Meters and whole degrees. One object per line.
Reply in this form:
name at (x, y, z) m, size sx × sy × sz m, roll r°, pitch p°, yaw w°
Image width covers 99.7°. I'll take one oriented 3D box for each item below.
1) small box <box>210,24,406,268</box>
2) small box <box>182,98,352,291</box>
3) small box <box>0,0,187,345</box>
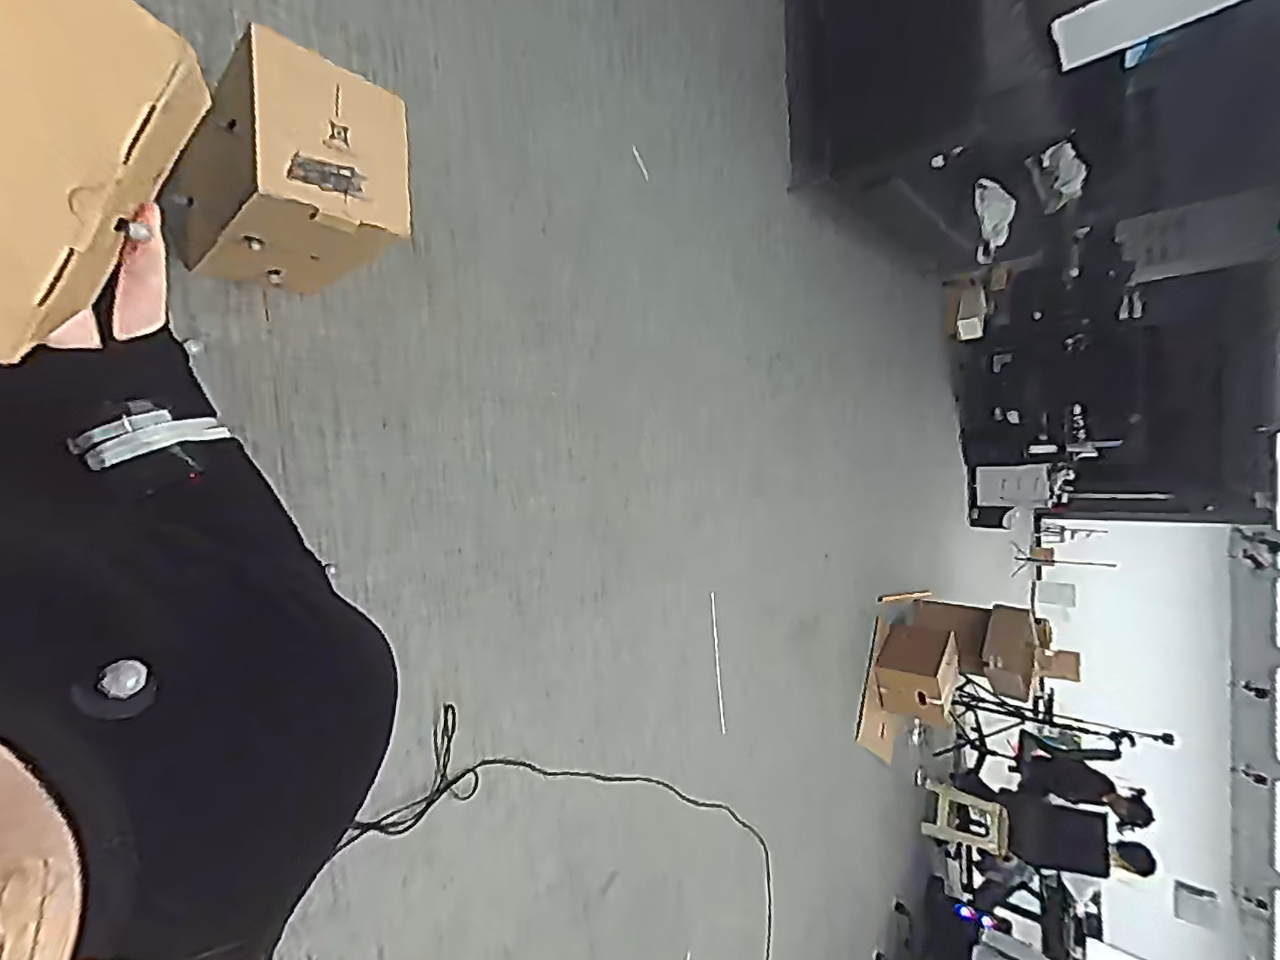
small box at (-0.410, -0.385, 0.668) m, size 0.168 × 0.176 × 0.179 m, roll -3°, pitch 90°, yaw -49°
small box at (-0.534, -0.387, 0.777) m, size 0.168 × 0.176 × 0.179 m, roll -5°, pitch 93°, yaw -50°
small box at (-0.342, -0.185, 0.237) m, size 0.179 × 0.176 × 0.168 m, roll 29°, pitch 94°, yaw -44°
